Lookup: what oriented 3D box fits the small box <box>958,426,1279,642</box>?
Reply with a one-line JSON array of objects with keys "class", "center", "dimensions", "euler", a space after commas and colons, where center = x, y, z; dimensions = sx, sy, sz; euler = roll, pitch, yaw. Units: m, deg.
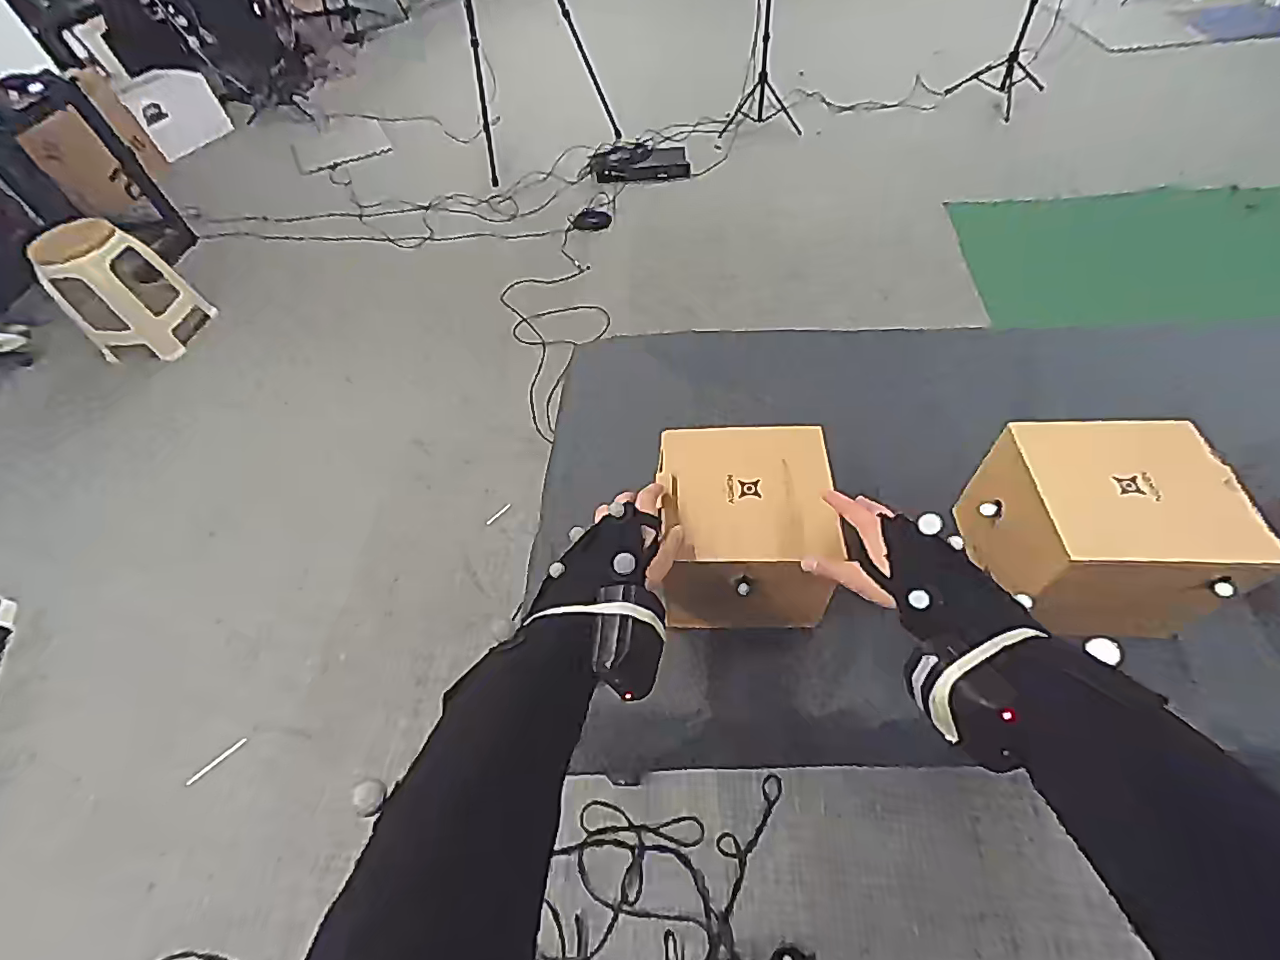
[{"class": "small box", "center": [0.463, 0.060, 0.566], "dimensions": [0.179, 0.176, 0.168], "euler": [0, 52, 6]}]

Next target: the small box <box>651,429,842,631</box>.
[{"class": "small box", "center": [0.107, 0.060, 0.604], "dimensions": [0.179, 0.176, 0.168], "euler": [0, 54, 4]}]
